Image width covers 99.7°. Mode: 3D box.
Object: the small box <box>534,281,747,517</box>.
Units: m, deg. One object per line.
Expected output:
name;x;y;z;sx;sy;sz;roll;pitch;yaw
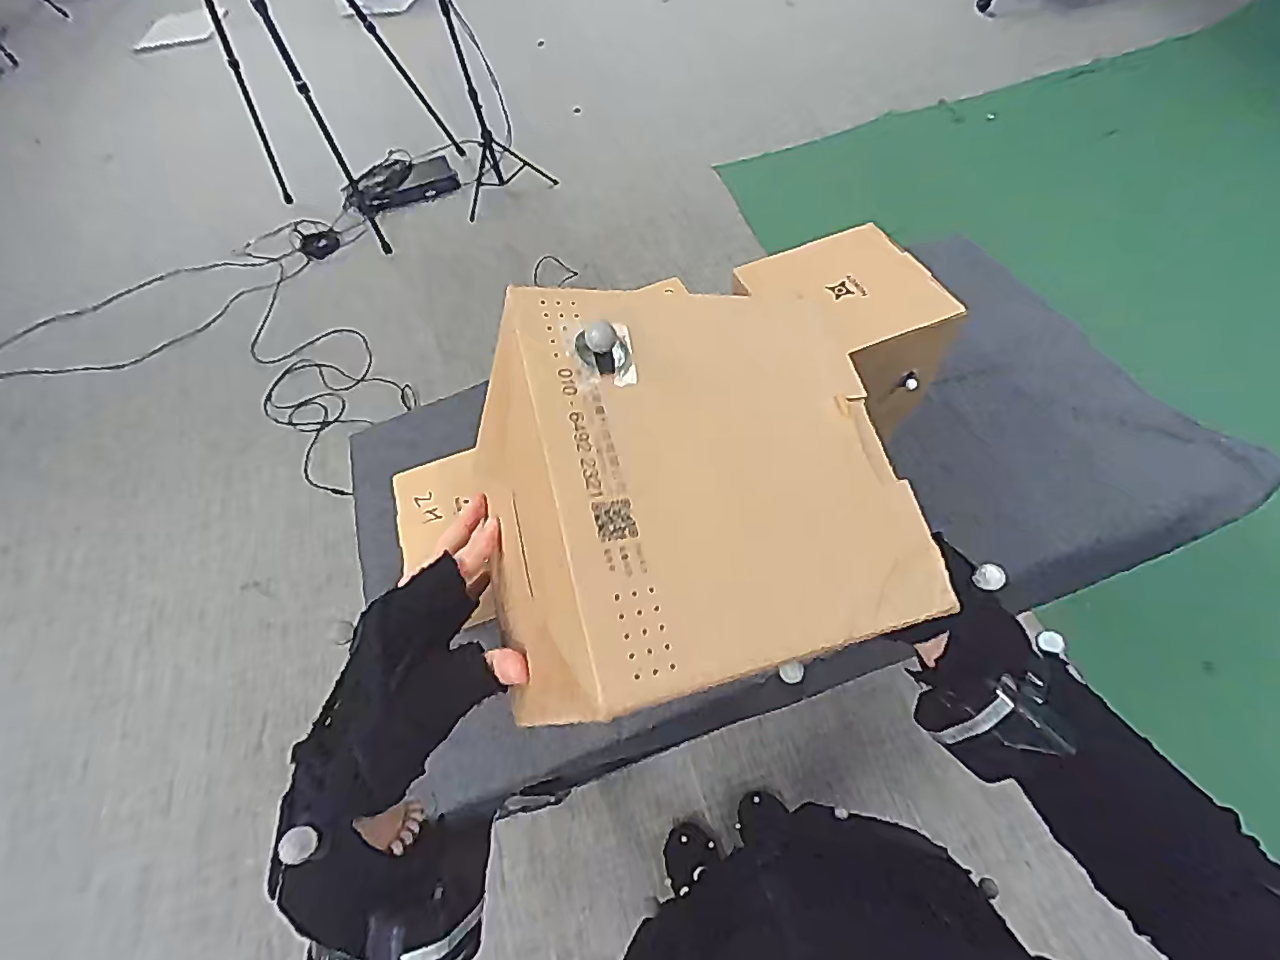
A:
small box;0.005;-0.084;0.615;0.179;0.176;0.168;-24;60;-7
